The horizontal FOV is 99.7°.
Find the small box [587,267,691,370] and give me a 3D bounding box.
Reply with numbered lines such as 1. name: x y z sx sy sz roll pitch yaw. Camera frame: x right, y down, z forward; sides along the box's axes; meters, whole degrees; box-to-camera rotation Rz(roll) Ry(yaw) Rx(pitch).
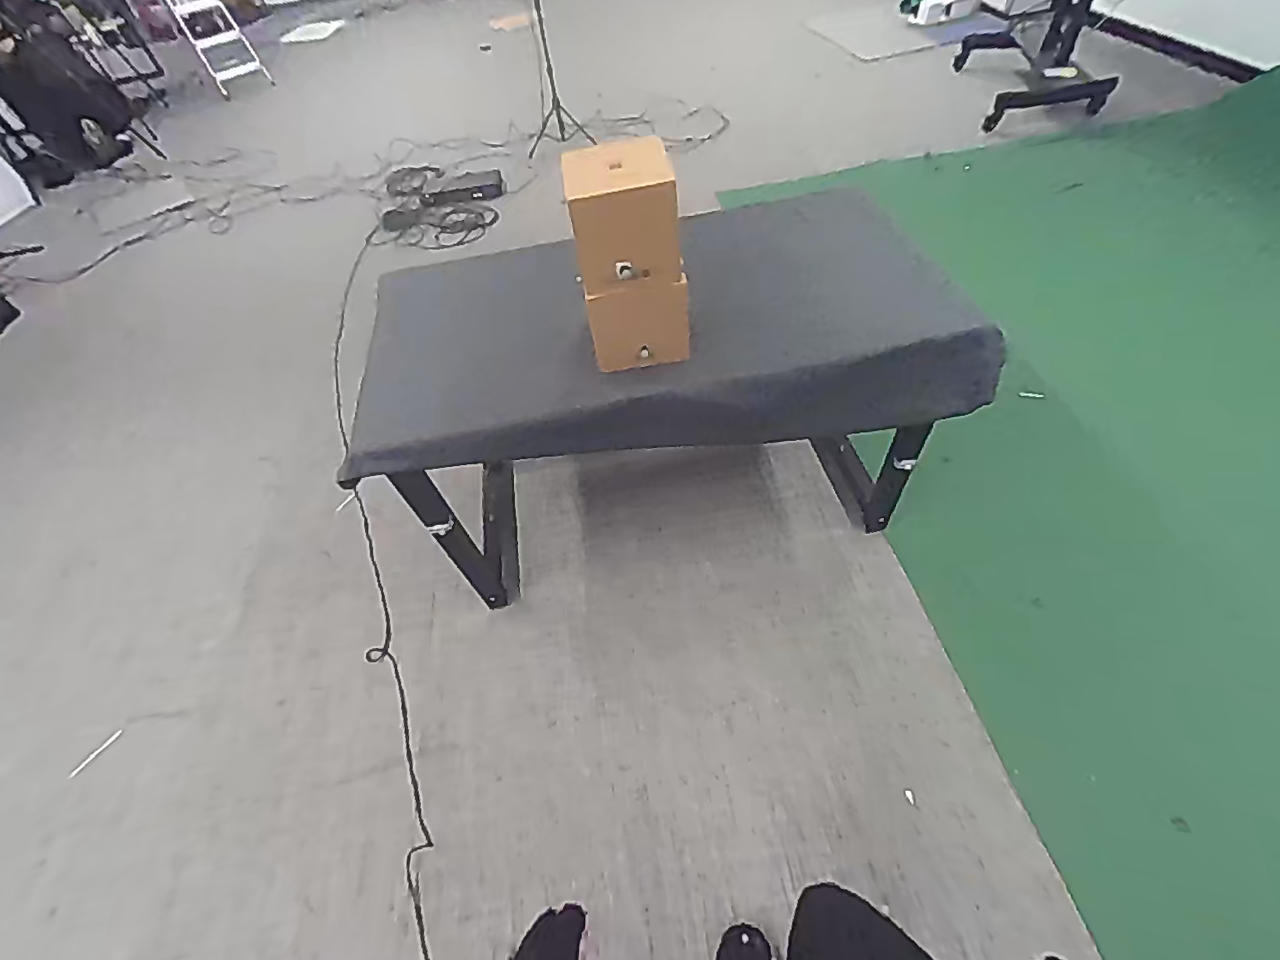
1. small box: -0.002 -0.332 1.027 0.179 0.176 0.168 -9 52 0

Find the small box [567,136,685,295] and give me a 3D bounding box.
1. small box: -0.022 -0.438 0.905 0.168 0.176 0.179 -11 53 1
